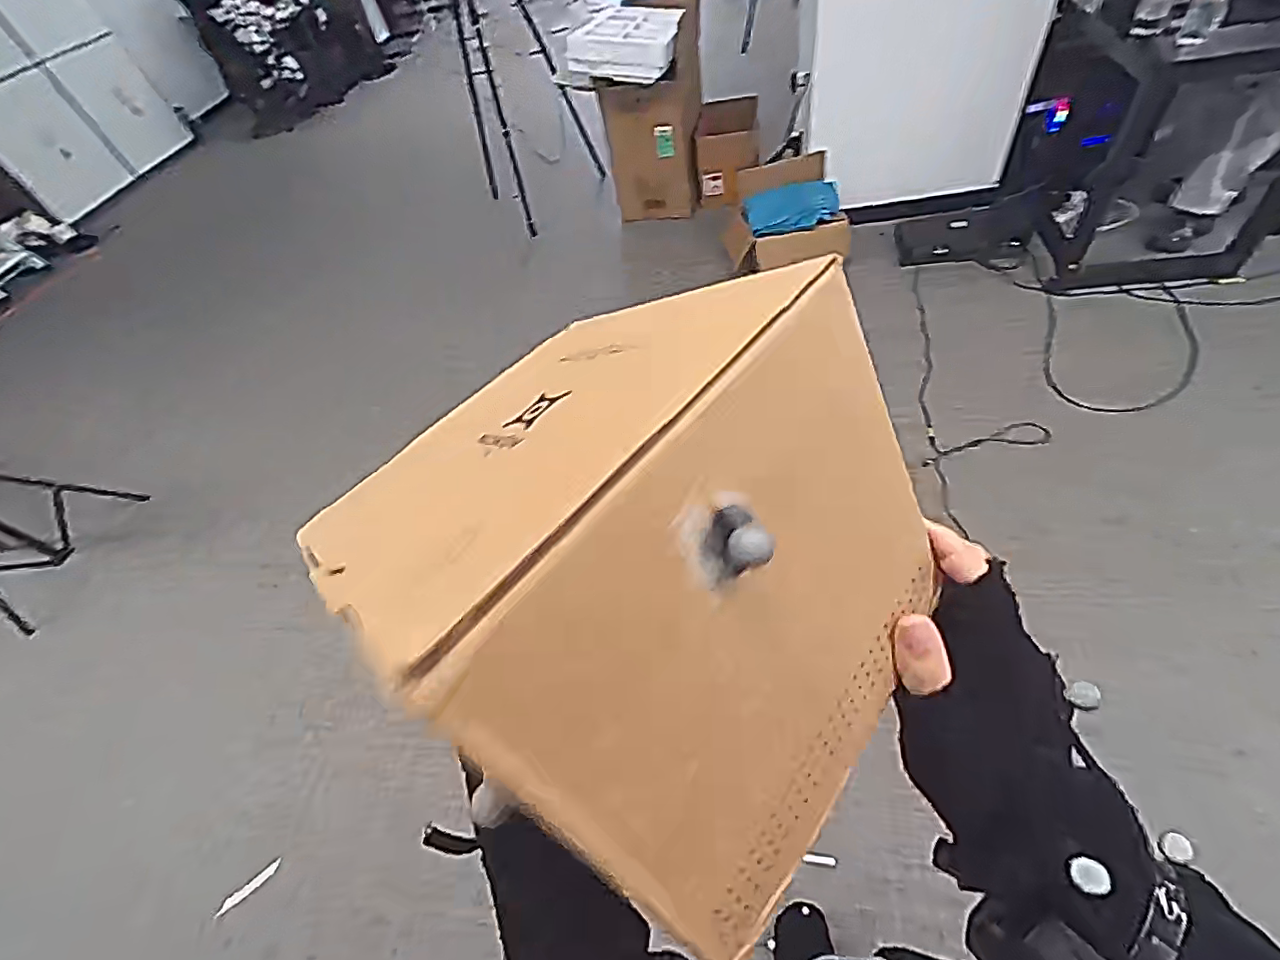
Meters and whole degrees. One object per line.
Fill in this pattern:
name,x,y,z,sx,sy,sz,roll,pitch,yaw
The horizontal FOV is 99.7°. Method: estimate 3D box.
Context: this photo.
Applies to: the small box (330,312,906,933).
small box,0.000,0.051,0.256,0.168,0.176,0.179,6,43,51
